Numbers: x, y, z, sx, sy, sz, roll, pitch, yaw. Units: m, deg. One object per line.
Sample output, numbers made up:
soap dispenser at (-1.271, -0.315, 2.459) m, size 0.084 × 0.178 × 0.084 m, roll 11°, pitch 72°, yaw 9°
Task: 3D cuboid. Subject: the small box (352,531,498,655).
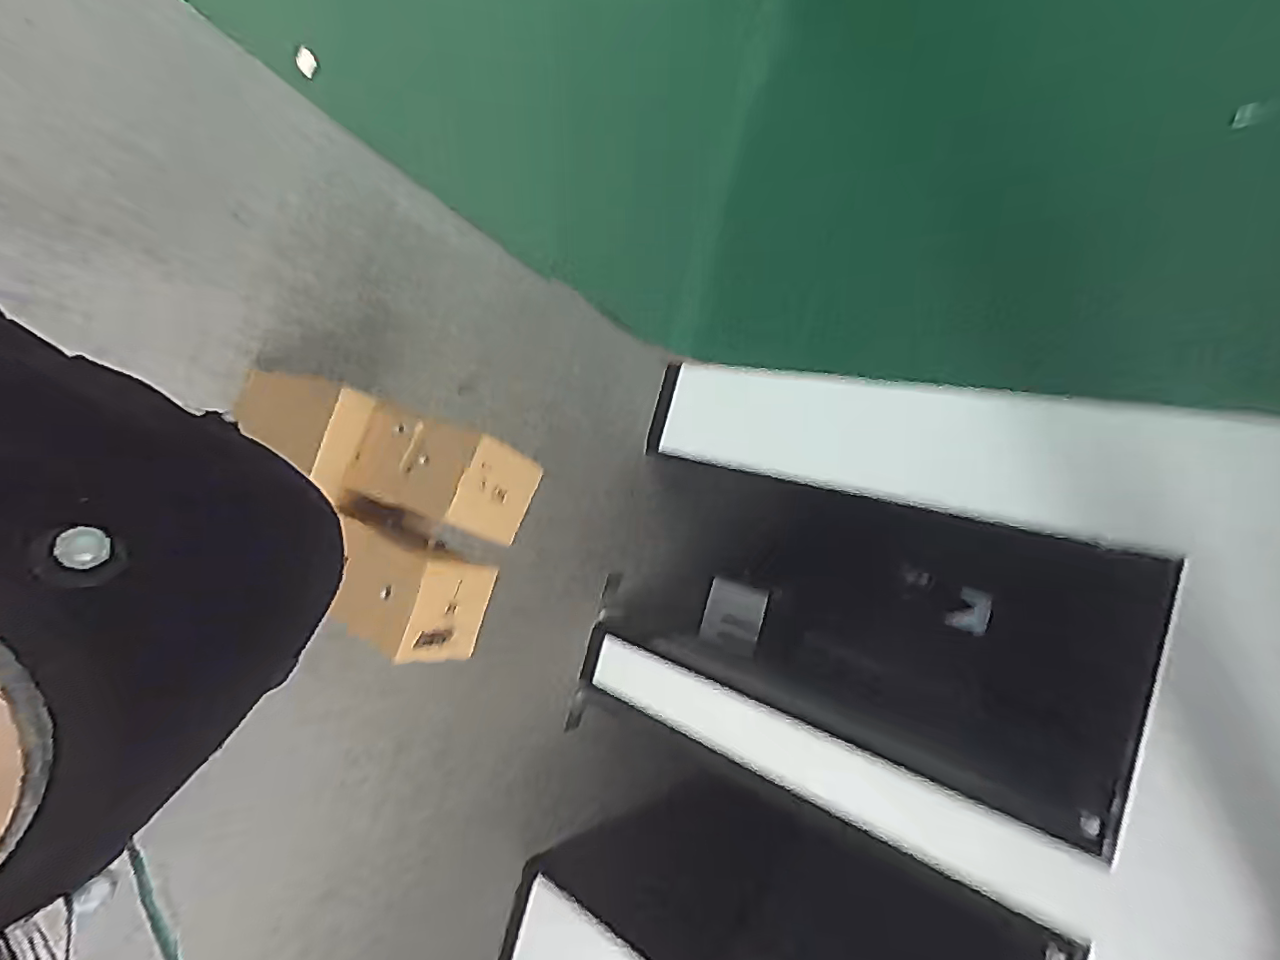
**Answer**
small box at (-0.402, 0.209, 1.007) m, size 0.168 × 0.176 × 0.179 m, roll 24°, pitch 82°, yaw -56°
